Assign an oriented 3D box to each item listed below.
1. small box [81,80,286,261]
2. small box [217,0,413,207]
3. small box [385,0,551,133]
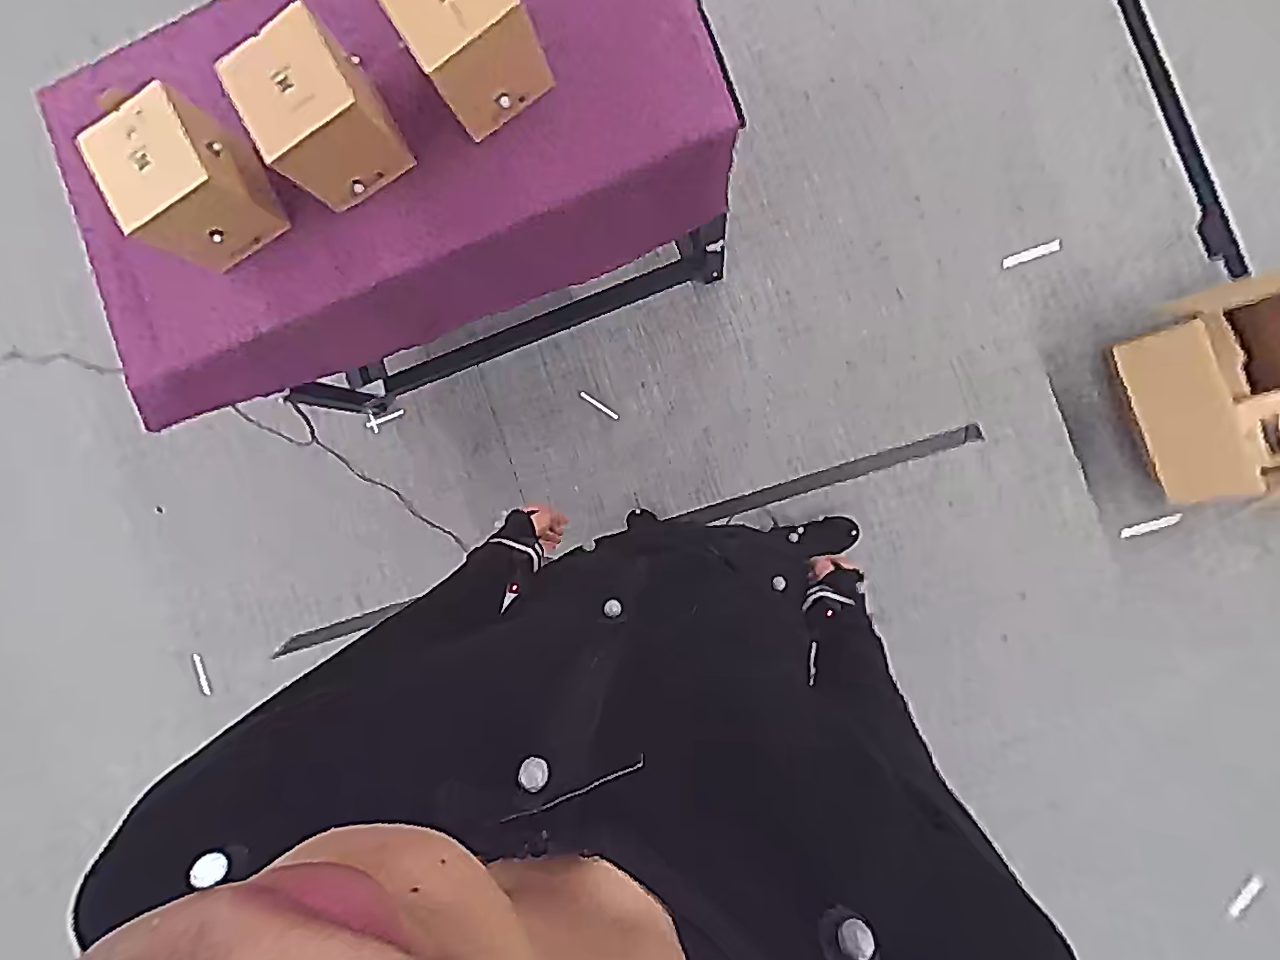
[{"bbox_3d":[-0.740,-0.492,0.897,0.168,0.176,0.179,-28,87,7],"label":"small box"},{"bbox_3d":[-0.507,-0.585,0.866,0.168,0.176,0.179,-29,87,8],"label":"small box"},{"bbox_3d":[-0.265,-0.692,0.830,0.168,0.176,0.179,-32,88,7],"label":"small box"}]
